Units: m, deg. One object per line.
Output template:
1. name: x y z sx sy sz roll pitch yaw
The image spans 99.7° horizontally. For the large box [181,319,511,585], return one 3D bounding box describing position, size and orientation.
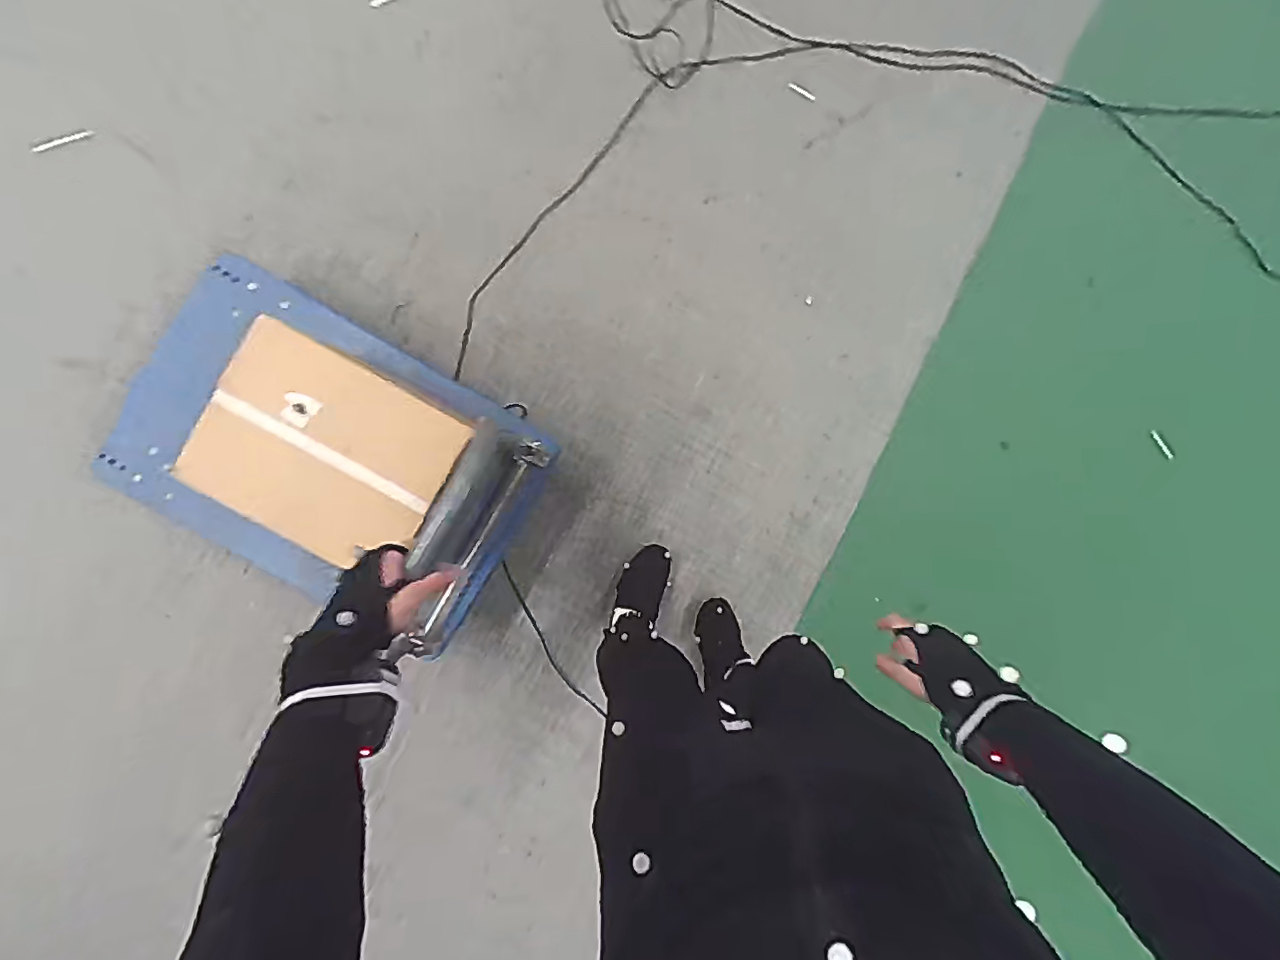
1. large box: -0.525 -0.046 1.055 0.408 0.320 0.320 29 89 -1
